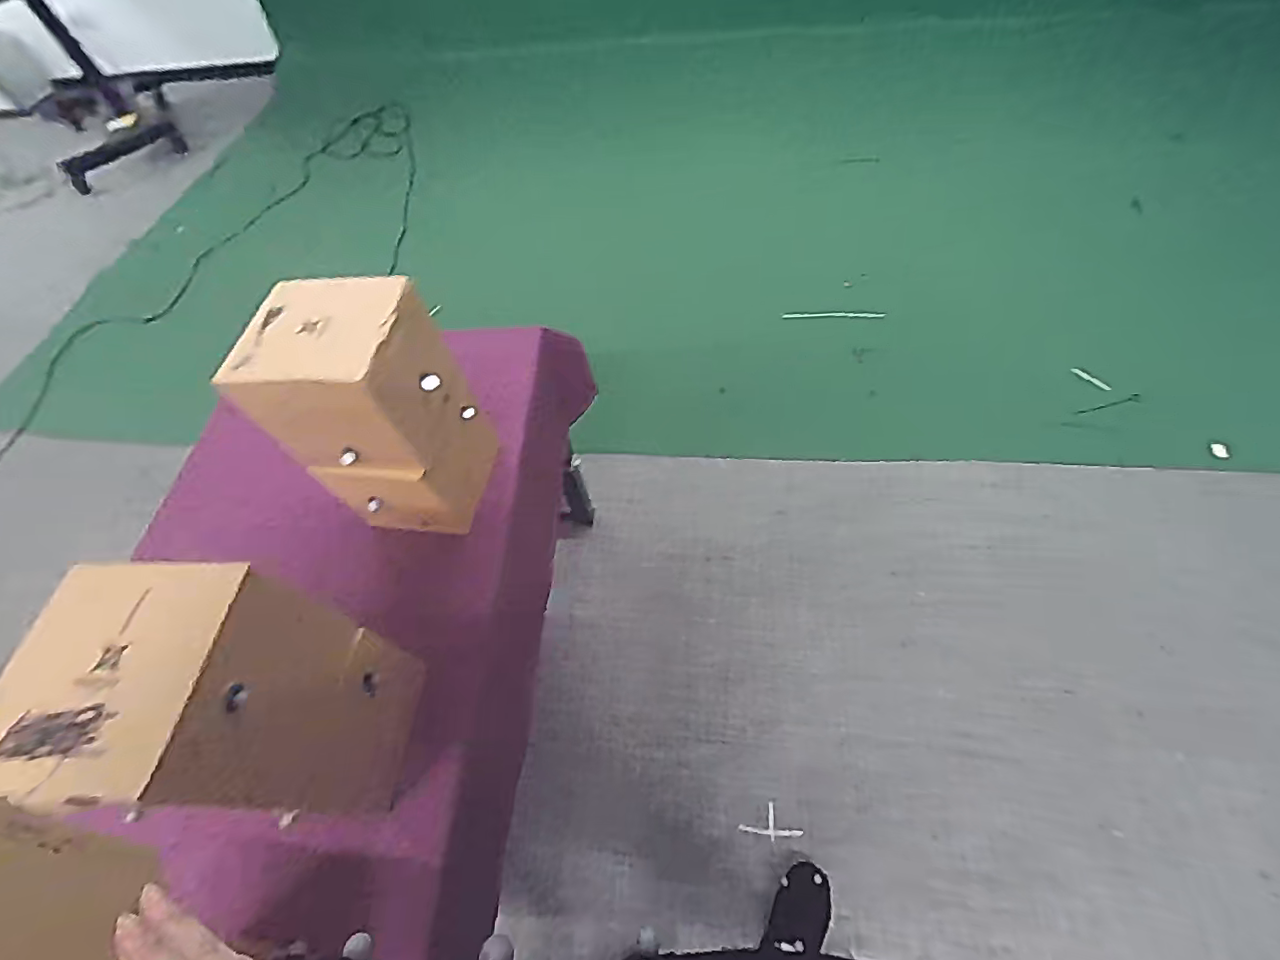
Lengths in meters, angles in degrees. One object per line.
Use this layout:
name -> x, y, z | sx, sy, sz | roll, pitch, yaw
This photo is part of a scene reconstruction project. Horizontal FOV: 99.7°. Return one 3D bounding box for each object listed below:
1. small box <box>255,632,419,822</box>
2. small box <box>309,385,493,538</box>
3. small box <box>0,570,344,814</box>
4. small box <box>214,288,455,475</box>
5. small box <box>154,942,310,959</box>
small box -> -0.381, 0.281, 0.620 | 0.168, 0.176, 0.179 | 1, 58, 8
small box -> -0.340, -0.027, 0.813 | 0.168, 0.176, 0.179 | 4, 58, 9
small box -> -0.404, 0.193, 0.483 | 0.168, 0.176, 0.179 | -1, 57, 6
small box -> -0.357, -0.118, 0.677 | 0.179, 0.176, 0.168 | 1, 57, 7
small box -> -0.384, 0.535, 0.461 | 0.168, 0.176, 0.179 | 5, 58, 9
